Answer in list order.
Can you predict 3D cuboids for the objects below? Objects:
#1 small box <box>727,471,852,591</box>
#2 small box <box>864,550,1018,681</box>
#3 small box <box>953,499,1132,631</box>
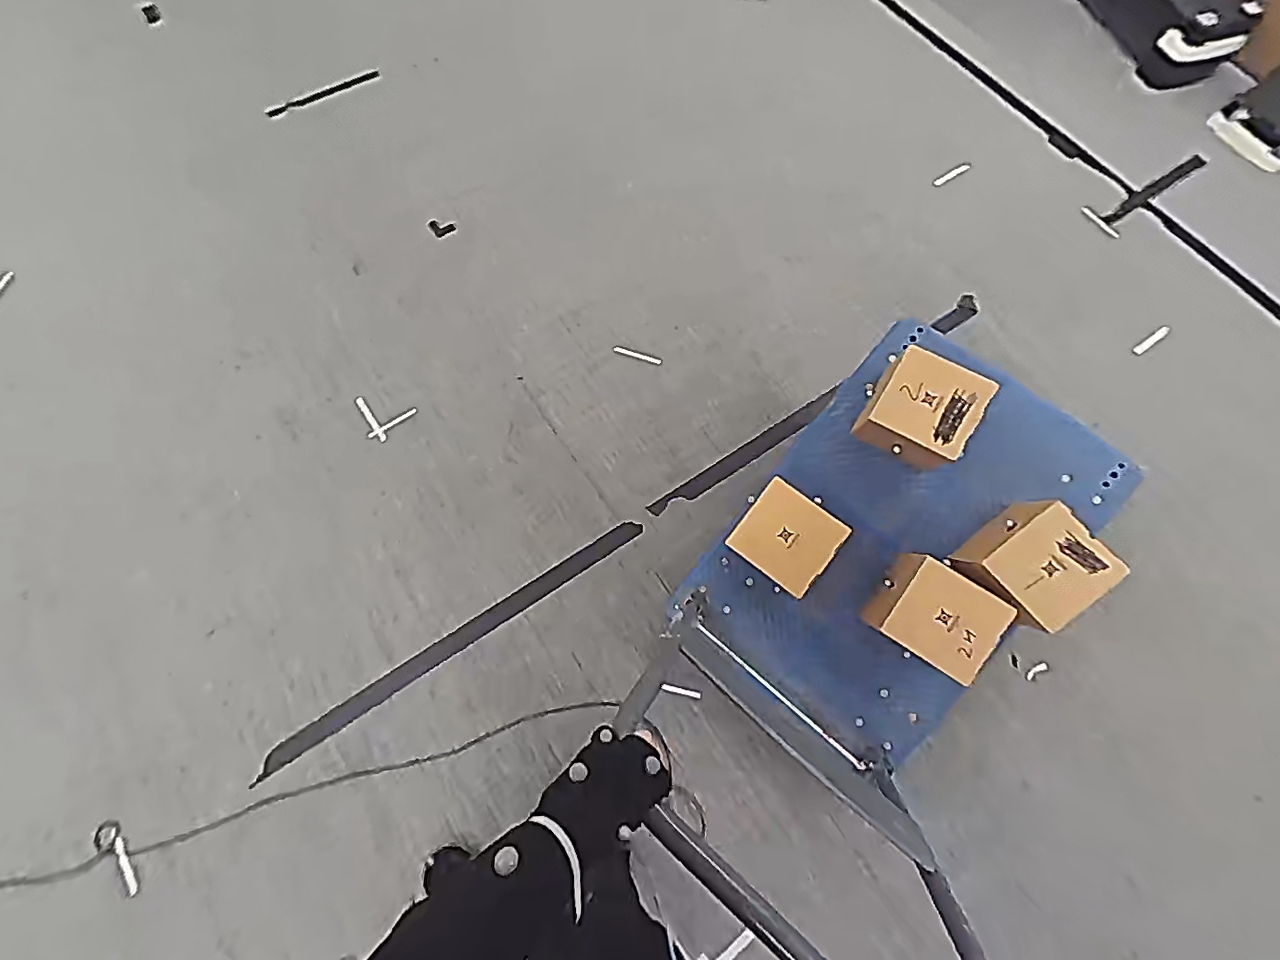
[{"bbox_3d":[0.293,0.104,1.102,0.179,0.176,0.168,37,92,9],"label":"small box"},{"bbox_3d":[0.562,0.250,1.041,0.179,0.176,0.168,34,92,11],"label":"small box"},{"bbox_3d":[0.738,0.153,1.019,0.179,0.176,0.168,-41,79,5],"label":"small box"}]
